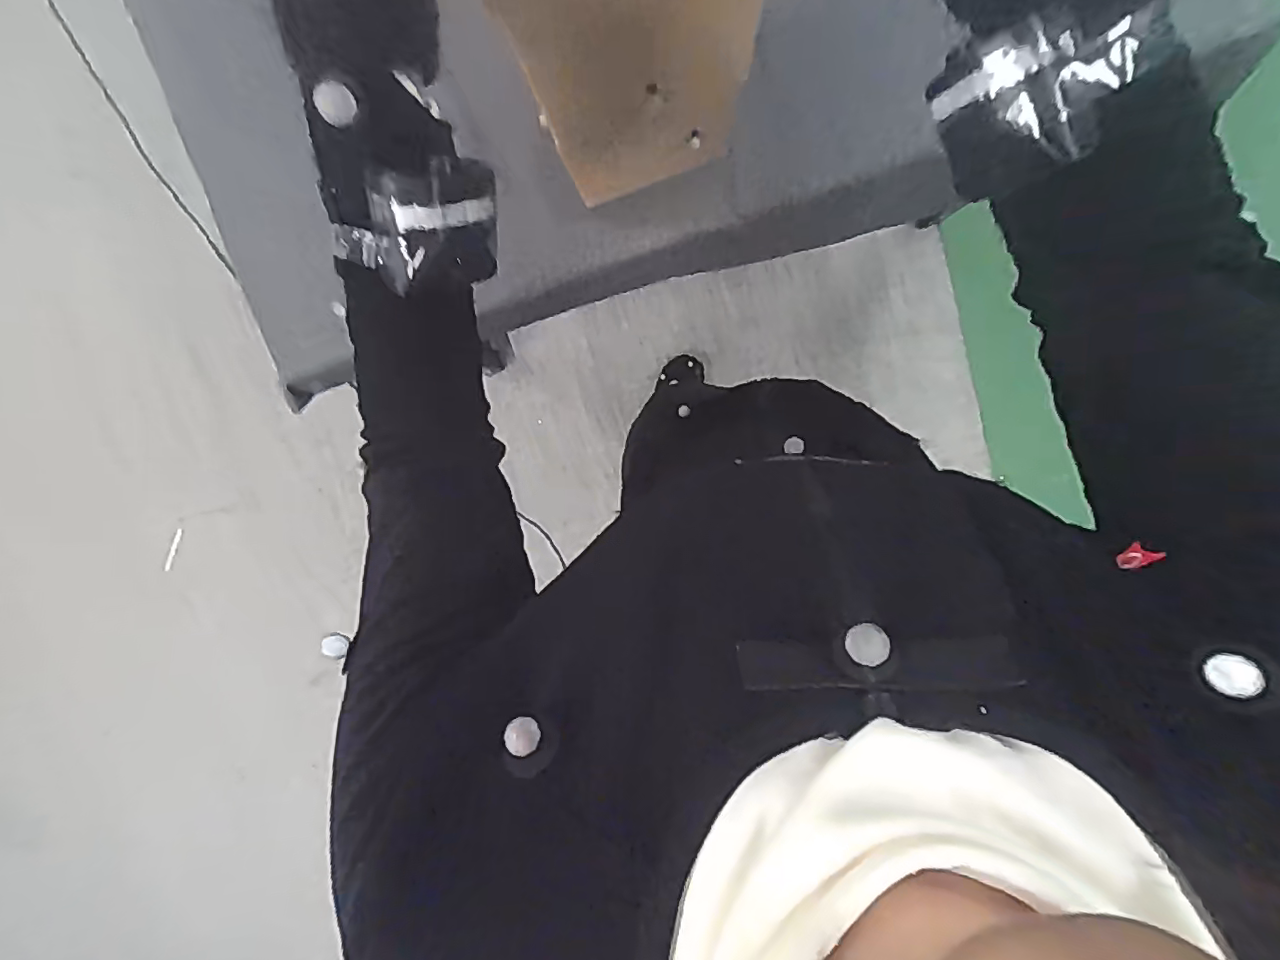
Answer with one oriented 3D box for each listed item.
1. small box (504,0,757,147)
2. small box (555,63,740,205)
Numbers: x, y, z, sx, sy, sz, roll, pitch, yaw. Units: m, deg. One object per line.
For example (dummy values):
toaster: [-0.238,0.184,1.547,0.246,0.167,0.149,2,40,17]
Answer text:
small box: [-0.019,-0.387,0.395,0.179,0.176,0.168,-17,97,6]
small box: [-0.010,-0.417,0.555,0.179,0.176,0.168,-18,97,8]
